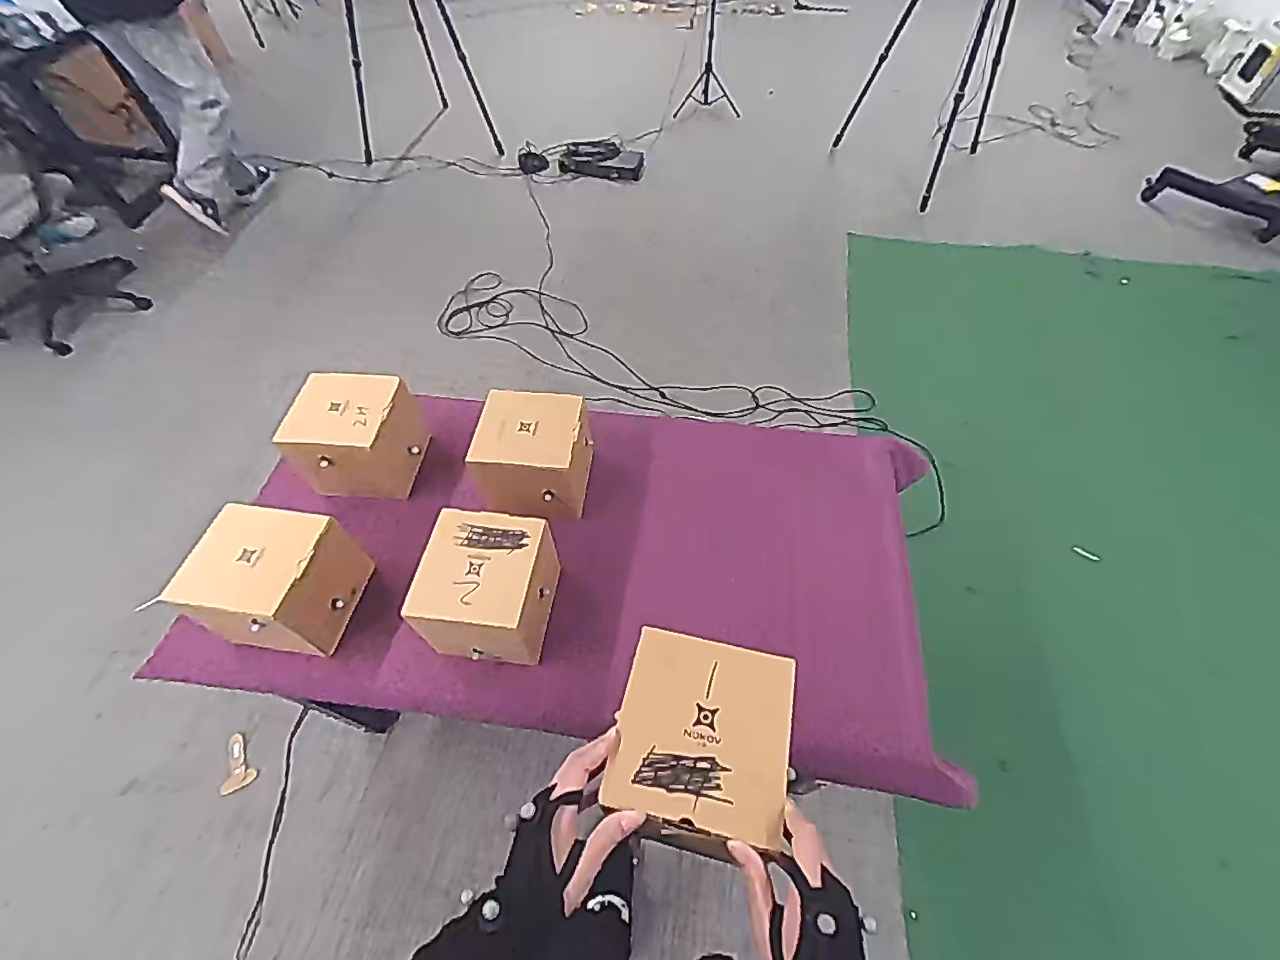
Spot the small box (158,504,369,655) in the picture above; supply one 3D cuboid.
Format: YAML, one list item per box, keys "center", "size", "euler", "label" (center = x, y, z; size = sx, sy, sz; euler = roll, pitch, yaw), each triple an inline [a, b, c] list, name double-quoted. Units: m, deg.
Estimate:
- center: [-0.567, 0.159, 0.844]
  size: [0.179, 0.176, 0.168]
  euler: [7, 54, 5]
  label: "small box"

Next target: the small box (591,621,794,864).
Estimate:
- center: [0.061, 0.281, 0.574]
  size: [0.168, 0.176, 0.179]
  euler: [10, 51, 11]
  label: "small box"

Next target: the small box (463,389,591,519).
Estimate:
- center: [-0.190, -0.043, 0.979]
  size: [0.179, 0.176, 0.168]
  euler: [5, 55, 5]
  label: "small box"

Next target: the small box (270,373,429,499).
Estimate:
- center: [-0.526, -0.078, 1.007]
  size: [0.179, 0.176, 0.168]
  euler: [4, 56, 3]
  label: "small box"
